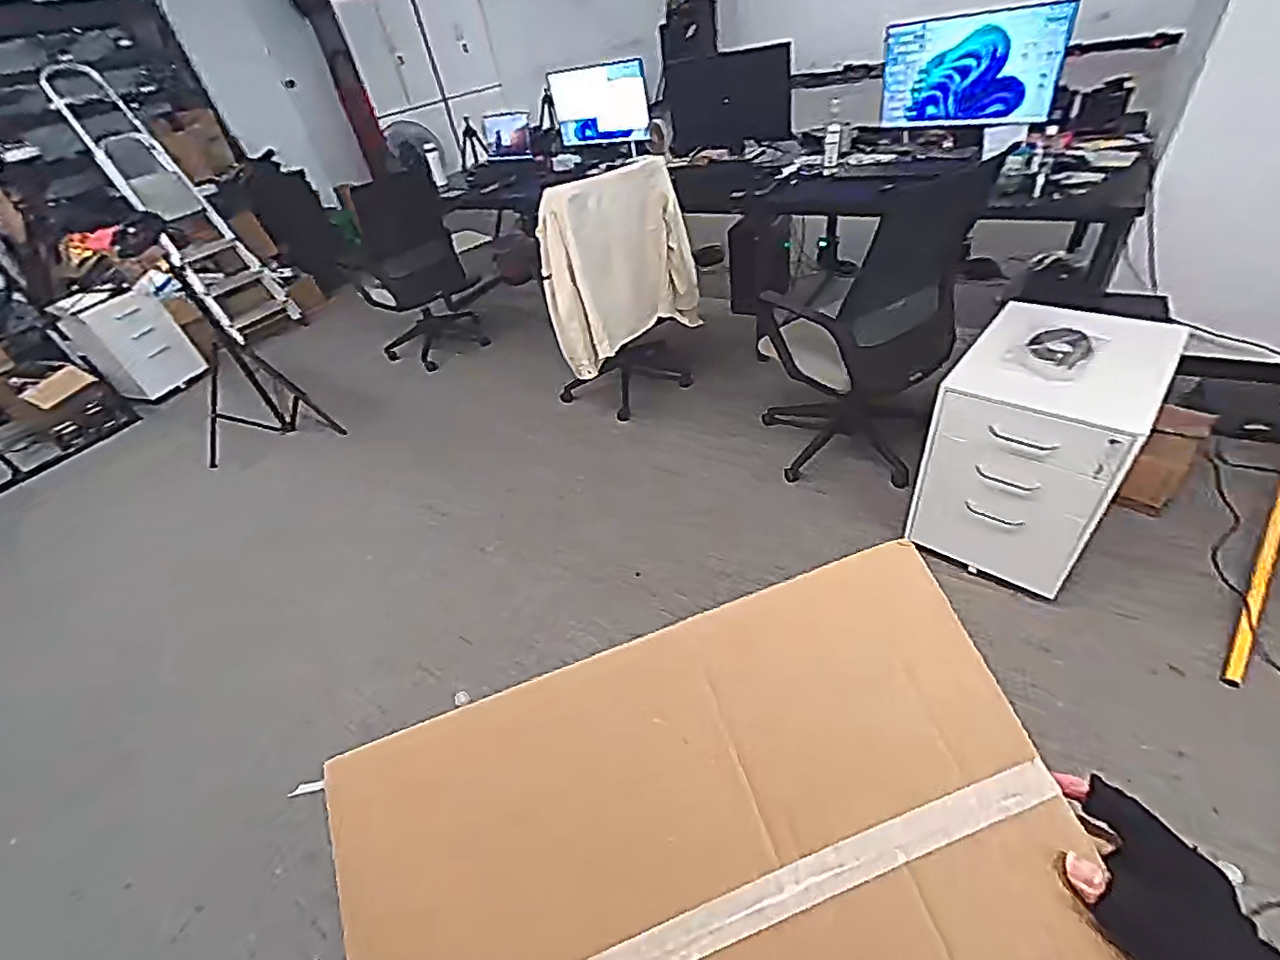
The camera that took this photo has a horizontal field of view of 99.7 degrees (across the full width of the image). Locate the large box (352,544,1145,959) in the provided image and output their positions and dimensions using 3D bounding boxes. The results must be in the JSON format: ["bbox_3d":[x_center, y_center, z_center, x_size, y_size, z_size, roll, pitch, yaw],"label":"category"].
[{"bbox_3d":[0.059,0.301,0.446,0.408,0.320,0.320,-21,69,-6],"label":"large box"}]
